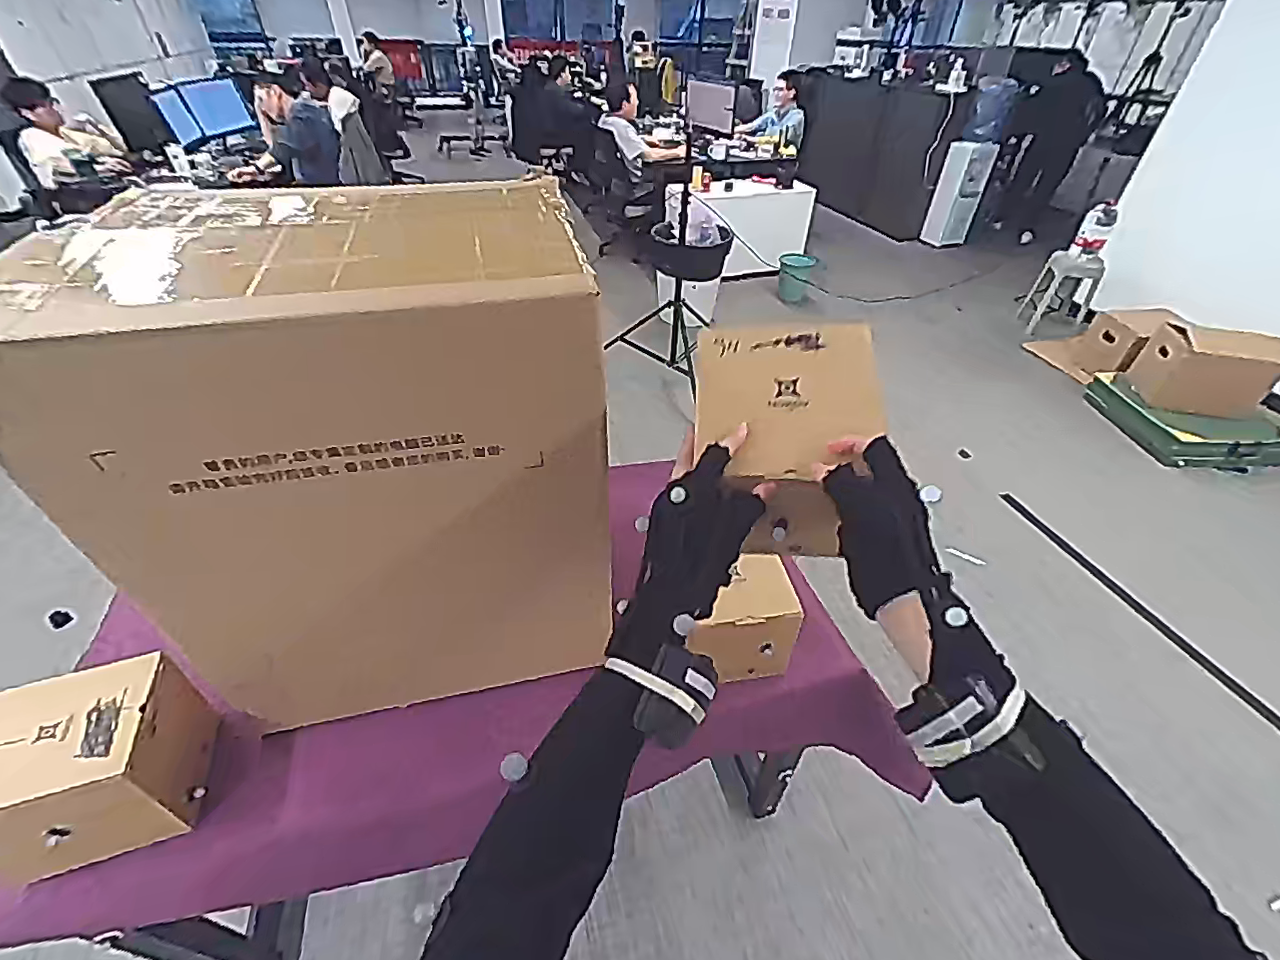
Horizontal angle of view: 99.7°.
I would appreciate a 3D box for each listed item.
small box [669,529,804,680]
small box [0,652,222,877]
[{"bbox_3d":[0.144,0.206,0.879,0.168,0.176,0.179,-5,39,-8],"label":"small box"},{"bbox_3d":[-0.668,0.352,0.677,0.179,0.176,0.168,-12,41,-17],"label":"small box"}]
